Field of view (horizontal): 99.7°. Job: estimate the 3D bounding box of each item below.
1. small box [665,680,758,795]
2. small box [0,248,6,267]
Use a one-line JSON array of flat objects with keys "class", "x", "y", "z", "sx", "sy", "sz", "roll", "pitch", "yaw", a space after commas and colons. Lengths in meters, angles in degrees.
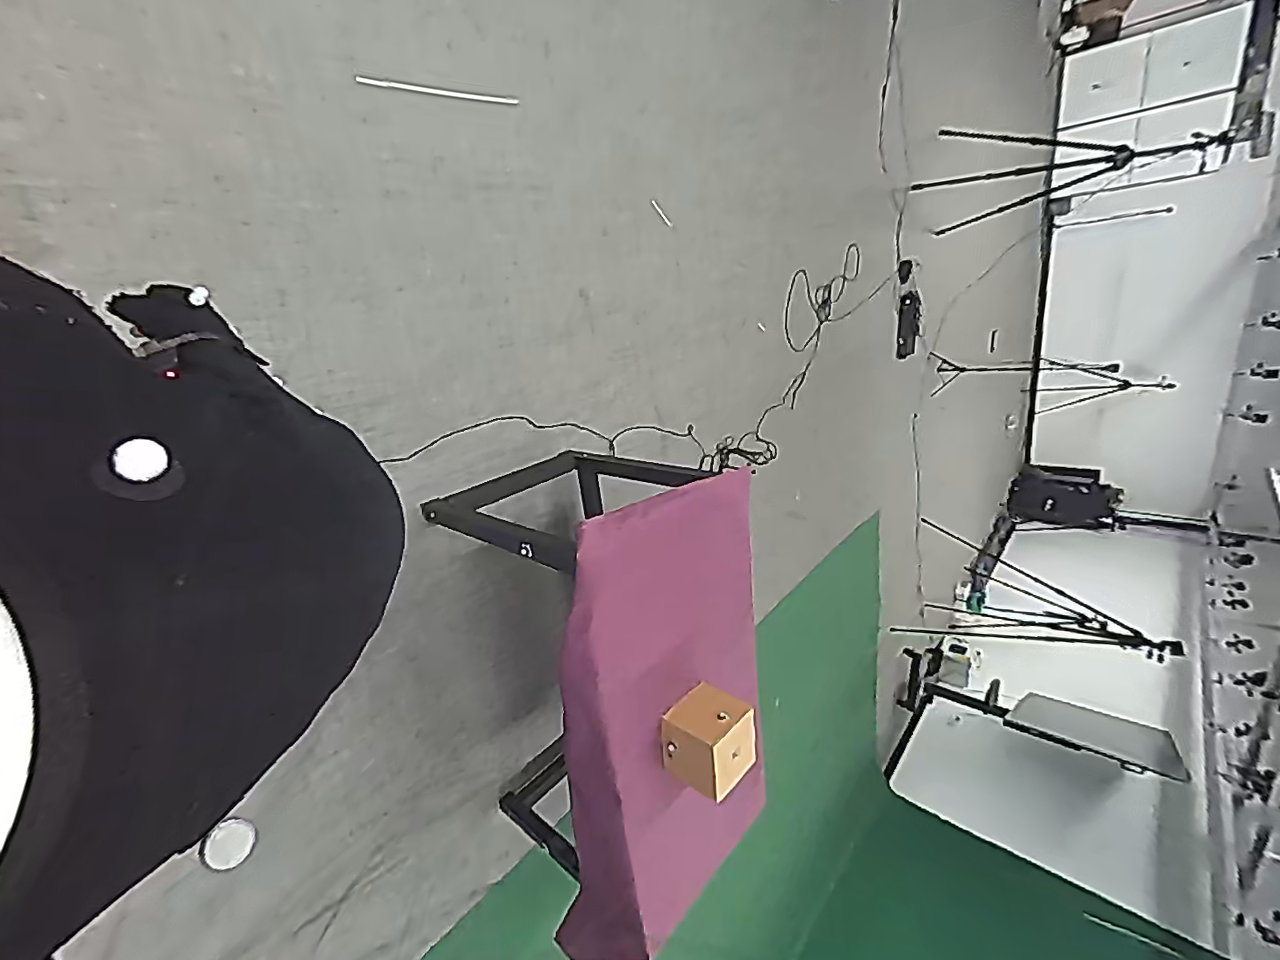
[{"class": "small box", "x": 0.182, "y": 0.640, "z": 1.374, "sx": 0.179, "sy": 0.176, "sz": 0.168, "roll": -19, "pitch": 111, "yaw": -43}, {"class": "small box", "x": -1.128, "y": -0.416, "z": 0.820, "sx": 0.168, "sy": 0.176, "sz": 0.179, "roll": -28, "pitch": 118, "yaw": -40}]
